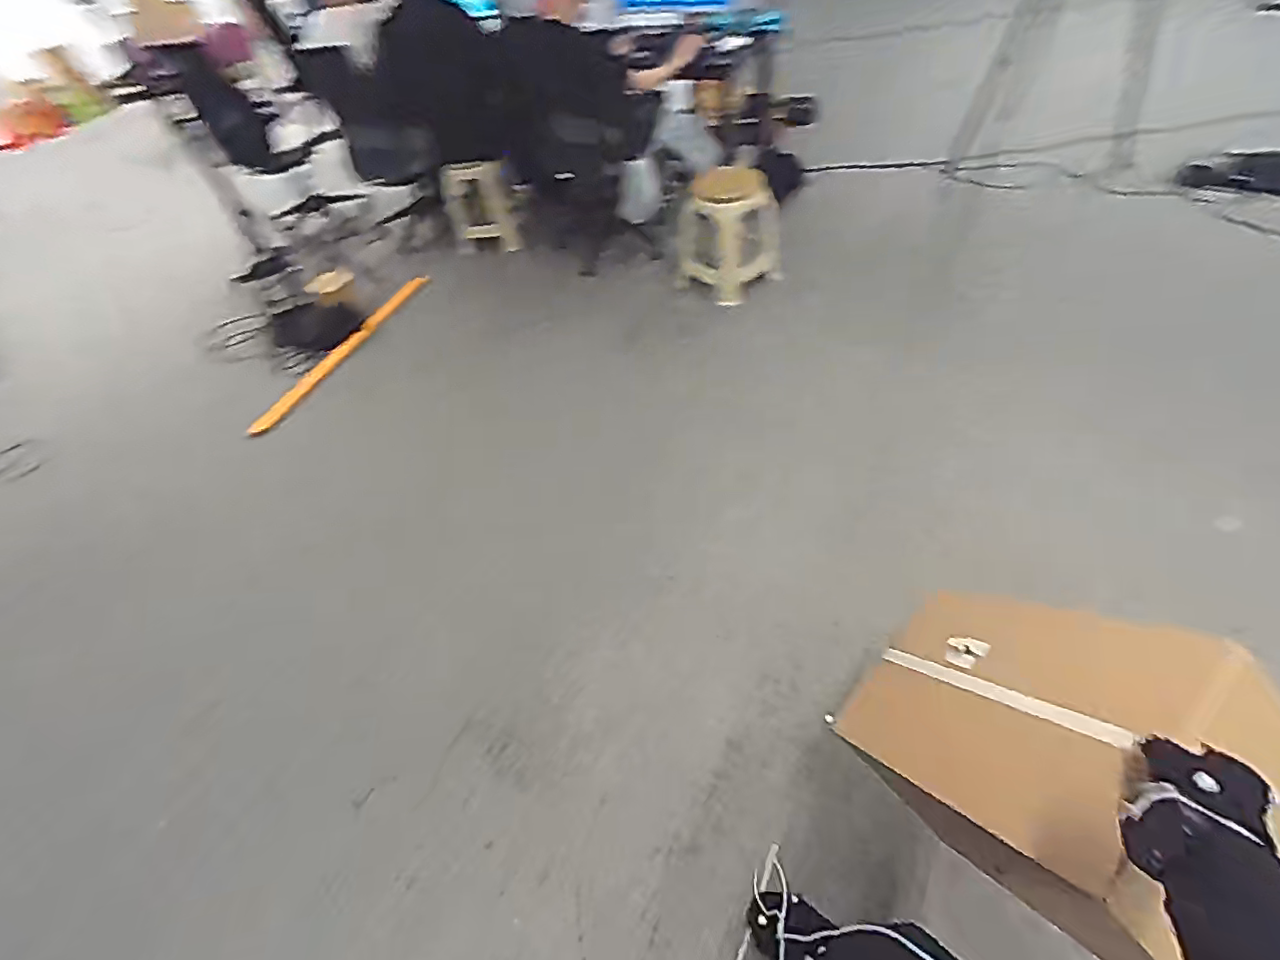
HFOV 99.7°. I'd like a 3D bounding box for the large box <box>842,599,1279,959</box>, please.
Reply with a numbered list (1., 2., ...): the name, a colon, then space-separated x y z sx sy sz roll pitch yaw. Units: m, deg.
1. large box: 0.585 0.407 0.746 0.320 0.408 0.320 46 77 -9
